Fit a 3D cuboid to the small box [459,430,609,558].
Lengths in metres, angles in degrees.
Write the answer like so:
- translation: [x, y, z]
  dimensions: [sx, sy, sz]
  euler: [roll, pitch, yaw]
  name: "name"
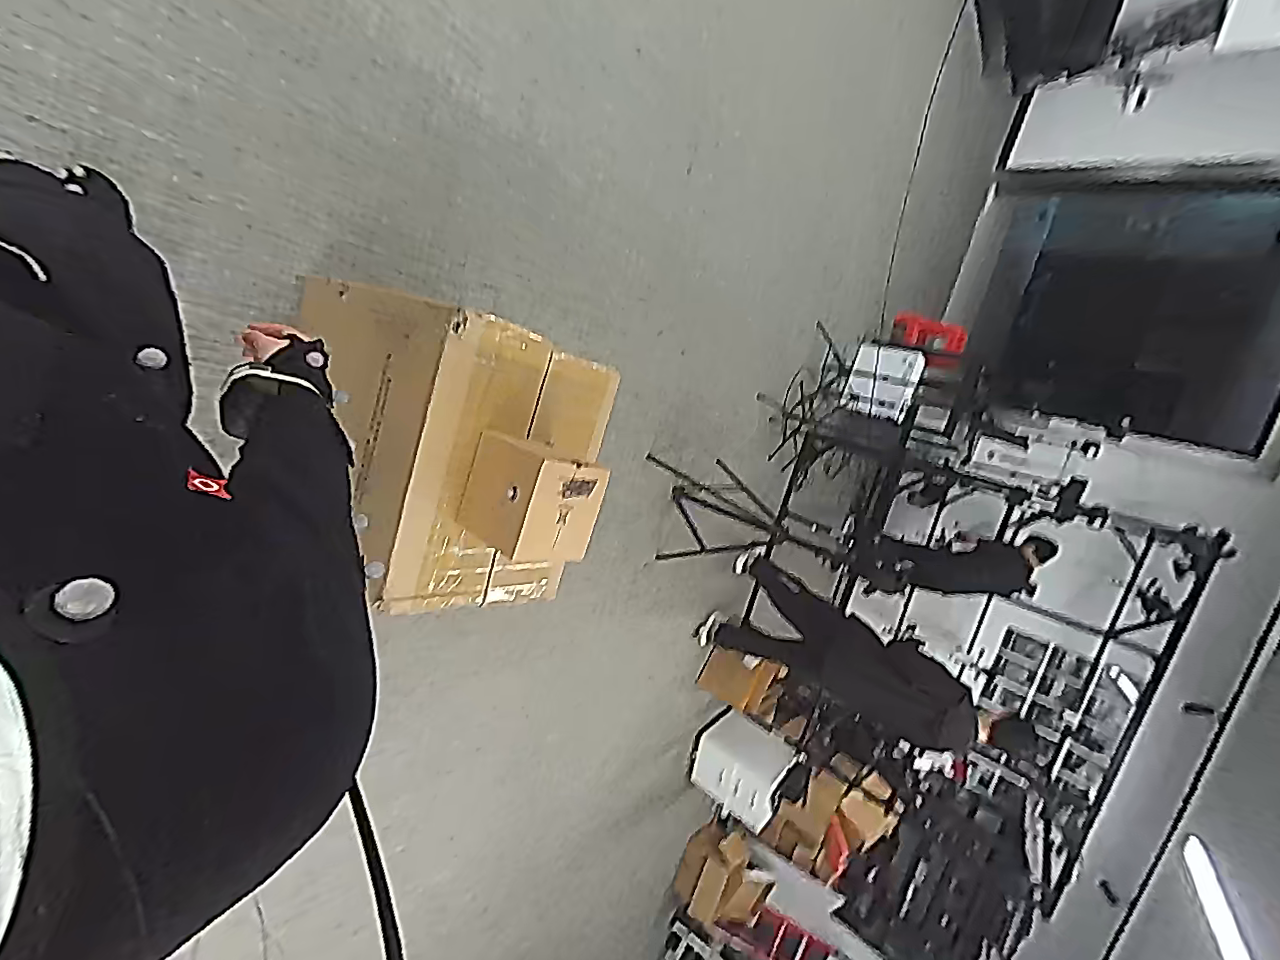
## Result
- translation: [-0.188, 0.024, 0.945]
  dimensions: [0.168, 0.176, 0.179]
  euler: [11, 100, -53]
  name: "small box"
